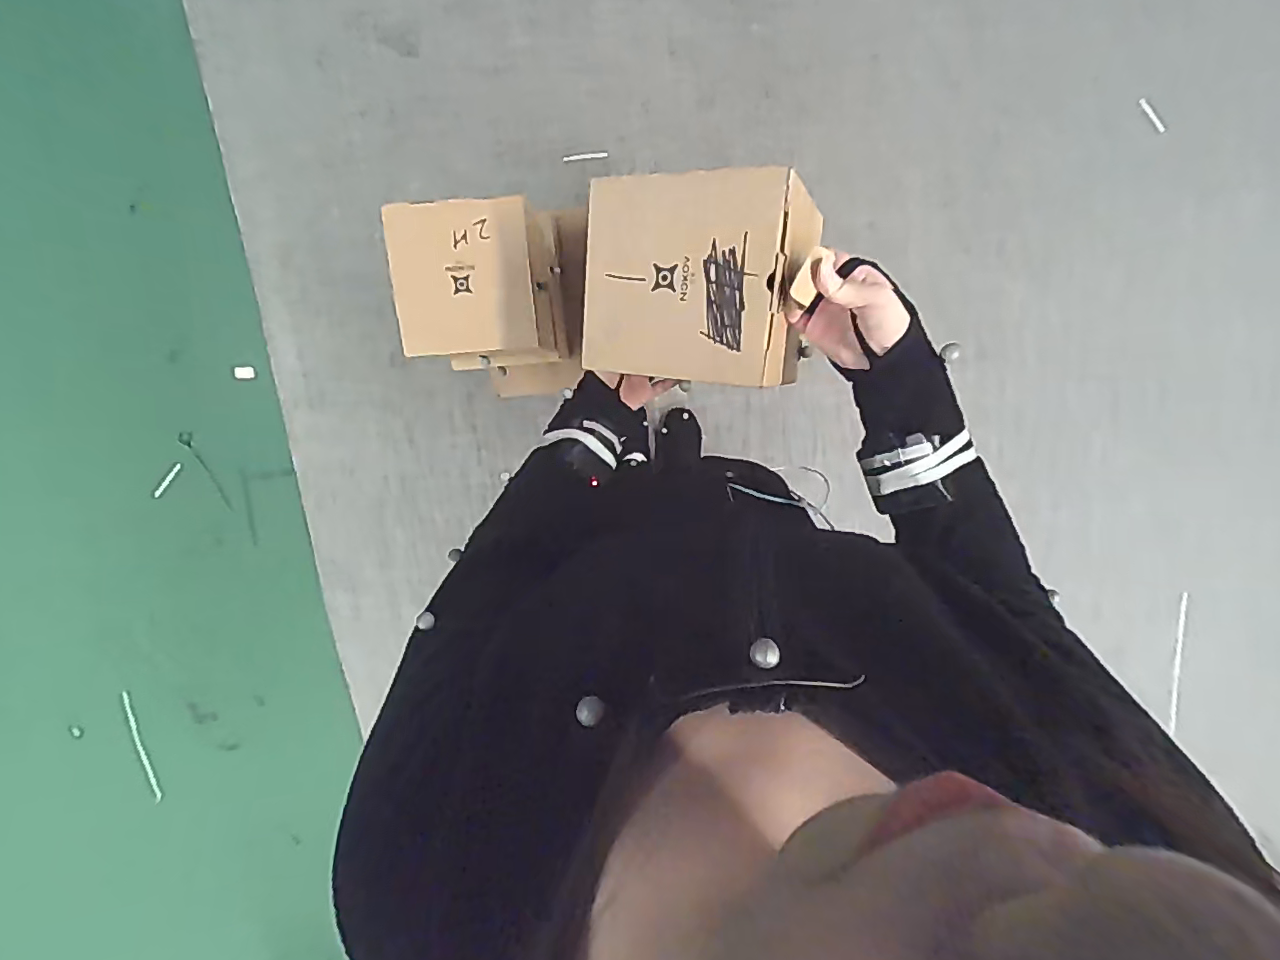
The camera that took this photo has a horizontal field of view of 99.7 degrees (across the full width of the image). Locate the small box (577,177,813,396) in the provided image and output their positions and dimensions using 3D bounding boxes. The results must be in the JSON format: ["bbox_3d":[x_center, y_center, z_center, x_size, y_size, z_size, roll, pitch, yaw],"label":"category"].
[{"bbox_3d":[0.060,-0.180,0.523,0.179,0.176,0.168,12,106,23],"label":"small box"}]

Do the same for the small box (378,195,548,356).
[{"bbox_3d":[-0.218,-0.257,0.716,0.168,0.176,0.179,-4,102,-2],"label":"small box"}]

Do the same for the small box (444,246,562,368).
[{"bbox_3d":[-0.223,-0.278,0.880,0.168,0.176,0.179,-5,102,-2],"label":"small box"}]
